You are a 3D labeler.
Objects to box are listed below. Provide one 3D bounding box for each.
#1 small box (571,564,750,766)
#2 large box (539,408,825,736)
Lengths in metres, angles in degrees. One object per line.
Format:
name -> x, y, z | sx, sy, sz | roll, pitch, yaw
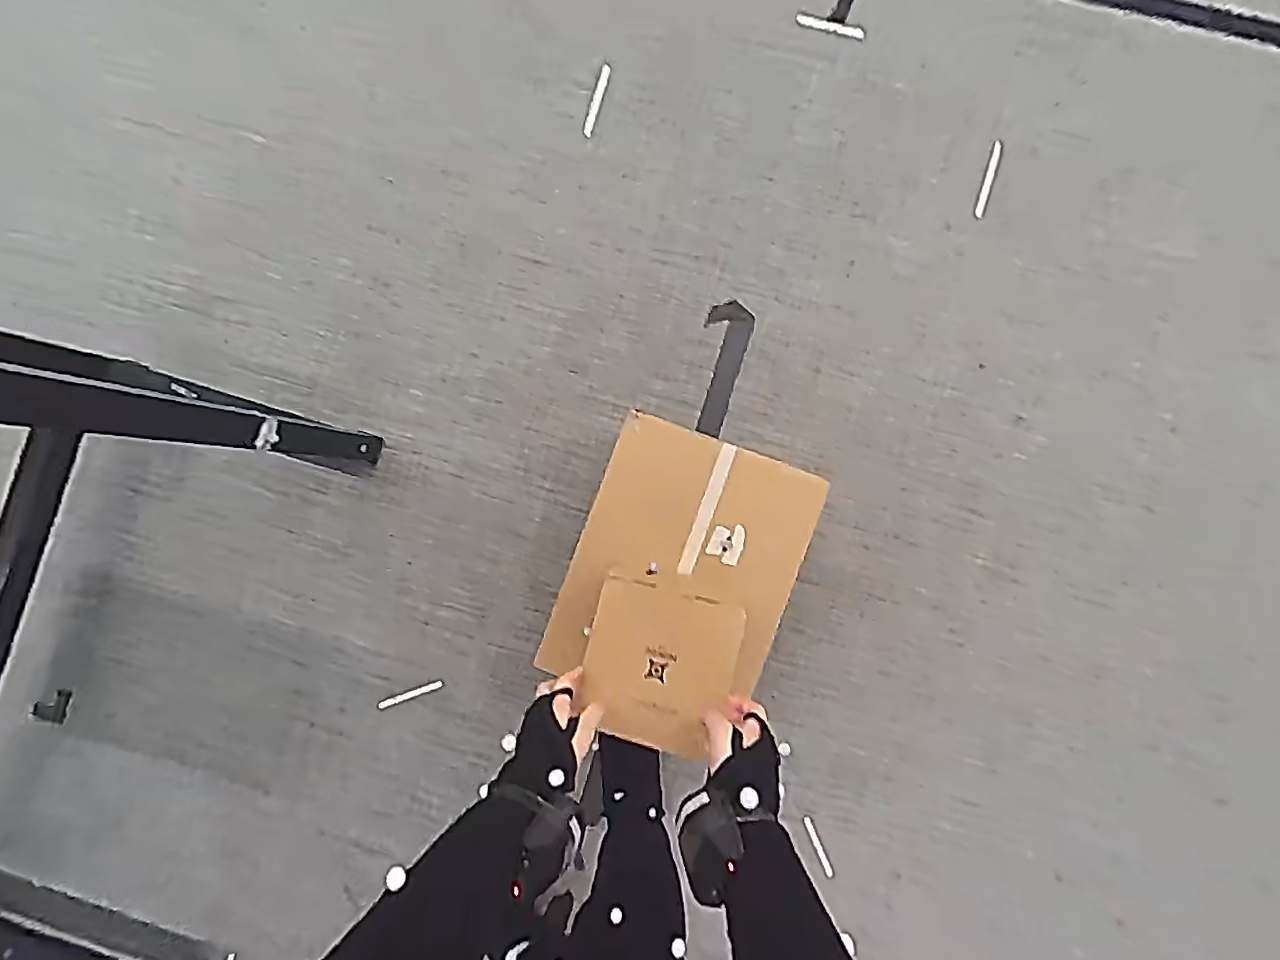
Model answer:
small box -> 0.031, 0.212, 0.677 | 0.168, 0.176, 0.179 | 14, 88, 8
large box -> 0.065, 0.139, 0.930 | 0.320, 0.320, 0.408 | 21, 88, 2
